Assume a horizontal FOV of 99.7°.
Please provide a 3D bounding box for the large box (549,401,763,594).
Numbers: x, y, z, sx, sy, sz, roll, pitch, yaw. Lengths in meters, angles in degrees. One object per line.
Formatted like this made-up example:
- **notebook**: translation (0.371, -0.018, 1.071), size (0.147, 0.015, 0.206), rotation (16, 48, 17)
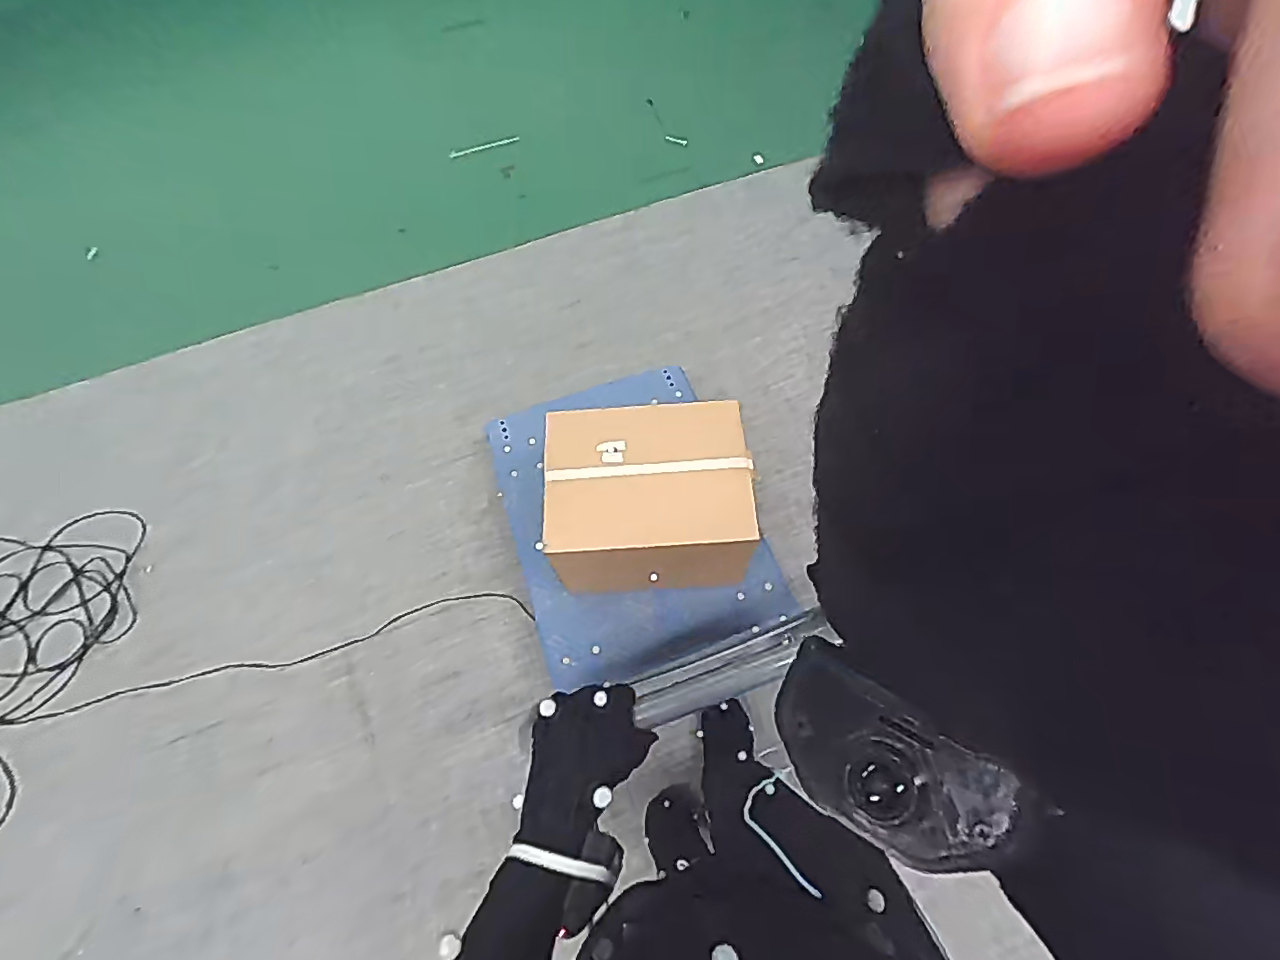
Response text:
- **large box**: translation (0.031, 0.054, 1.195), size (0.408, 0.320, 0.320), rotation (-5, 64, 2)
